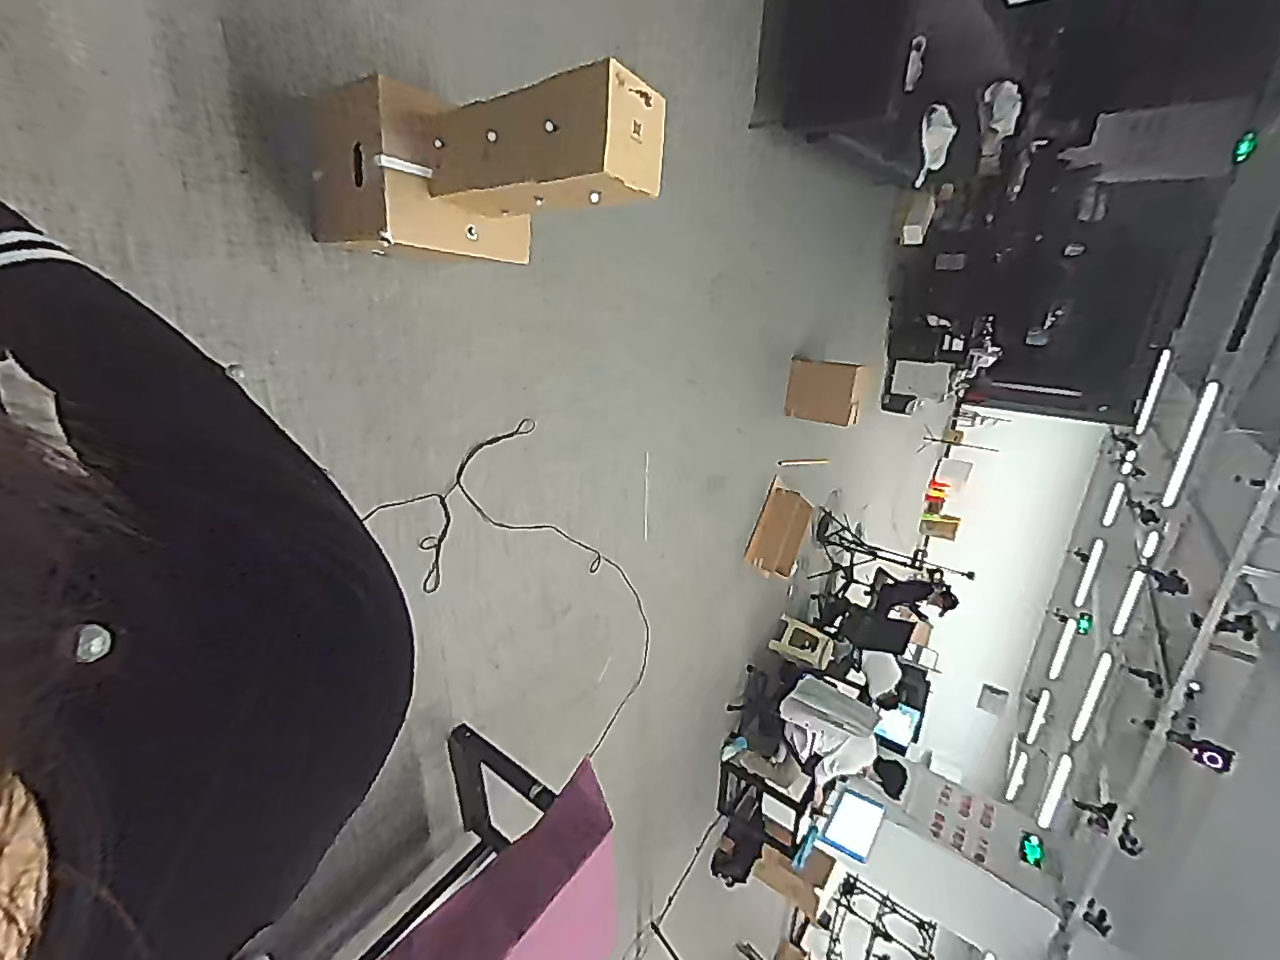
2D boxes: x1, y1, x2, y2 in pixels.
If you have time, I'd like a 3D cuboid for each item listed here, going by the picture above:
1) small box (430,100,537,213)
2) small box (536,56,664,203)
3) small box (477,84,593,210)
[{"bbox_3d":[-0.338,-0.700,1.195,0.179,0.176,0.168,-11,110,-52],"label":"small box"},{"bbox_3d":[-0.076,-0.634,1.008,0.168,0.176,0.179,-11,111,-53],"label":"small box"},{"bbox_3d":[-0.206,-0.664,1.104,0.179,0.176,0.168,-9,108,-52],"label":"small box"}]
